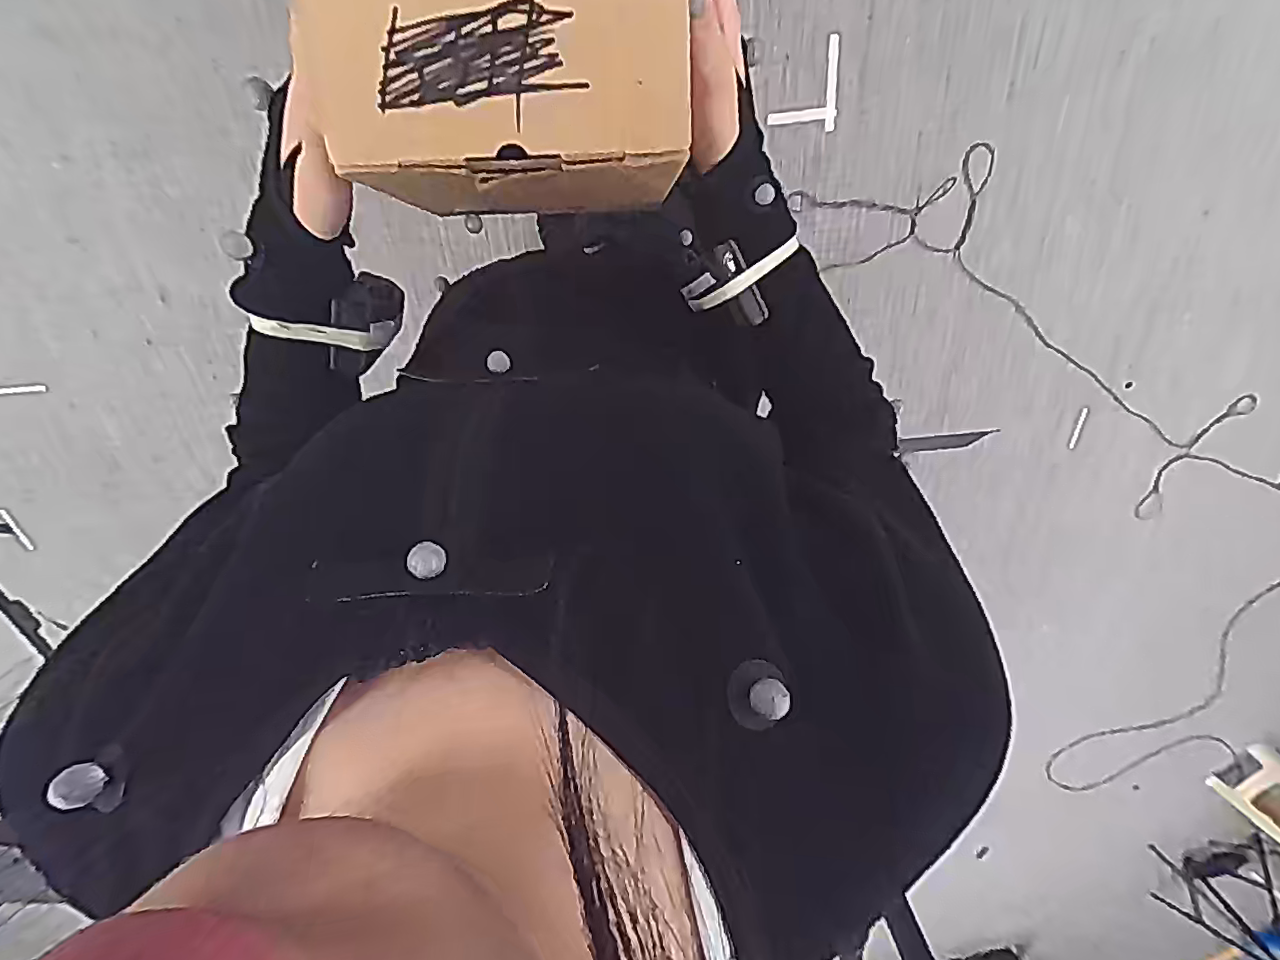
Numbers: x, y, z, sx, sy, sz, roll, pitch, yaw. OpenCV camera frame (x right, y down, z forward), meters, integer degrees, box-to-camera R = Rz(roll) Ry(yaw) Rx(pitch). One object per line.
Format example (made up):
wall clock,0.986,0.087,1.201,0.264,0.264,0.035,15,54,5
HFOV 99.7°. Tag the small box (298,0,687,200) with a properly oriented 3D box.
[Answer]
small box,-0.065,-0.258,0.293,0.168,0.176,0.179,-3,109,-2
